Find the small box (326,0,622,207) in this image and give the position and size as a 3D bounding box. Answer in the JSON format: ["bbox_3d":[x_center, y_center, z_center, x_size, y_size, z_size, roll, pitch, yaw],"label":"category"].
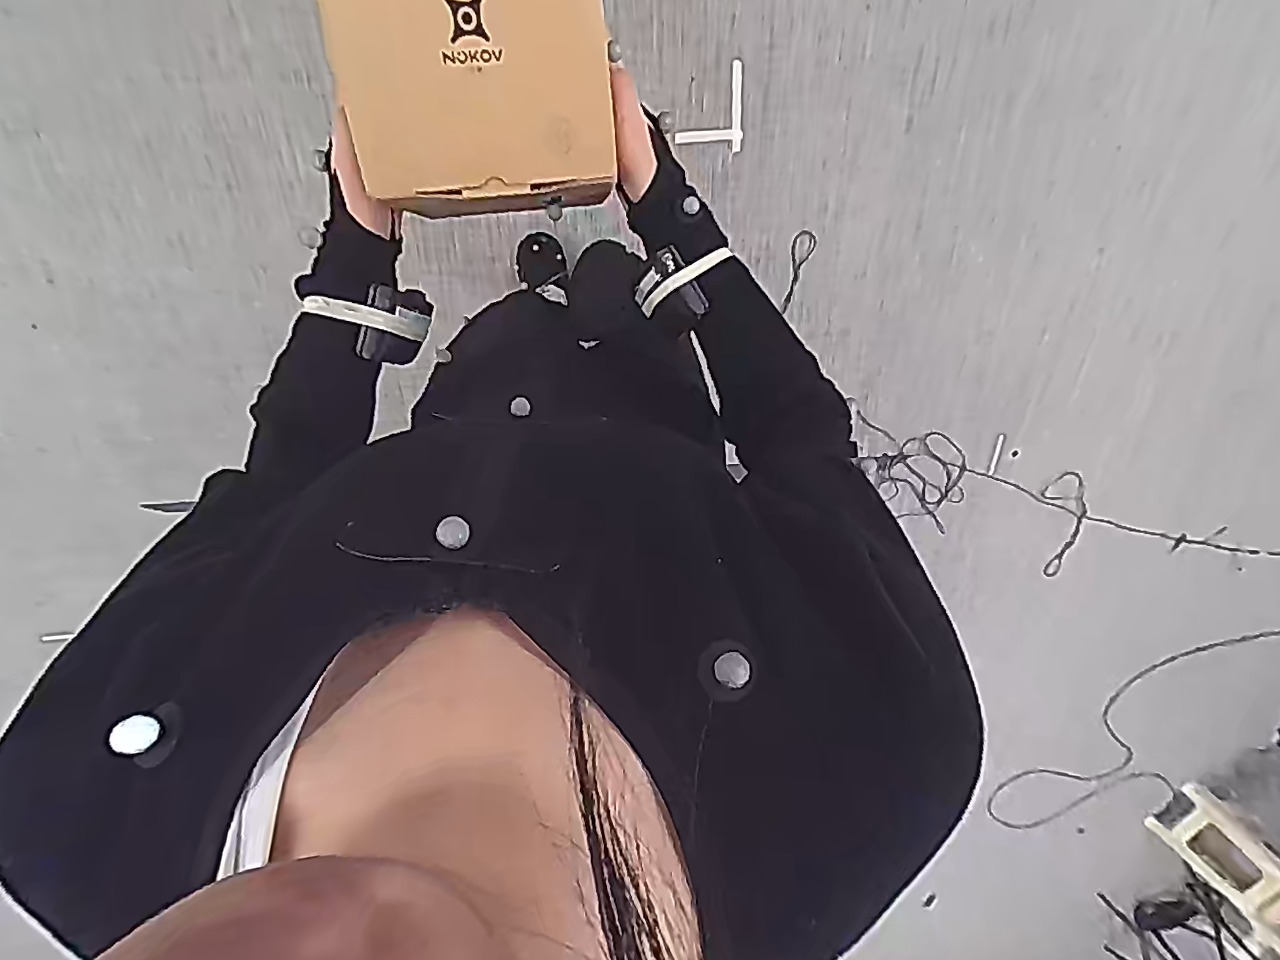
[{"bbox_3d":[-0.108,-0.302,0.394,0.168,0.176,0.179,-8,114,-6],"label":"small box"}]

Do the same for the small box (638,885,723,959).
[{"bbox_3d":[0.089,1.047,1.217,0.168,0.176,0.179,-7,118,-3],"label":"small box"}]
